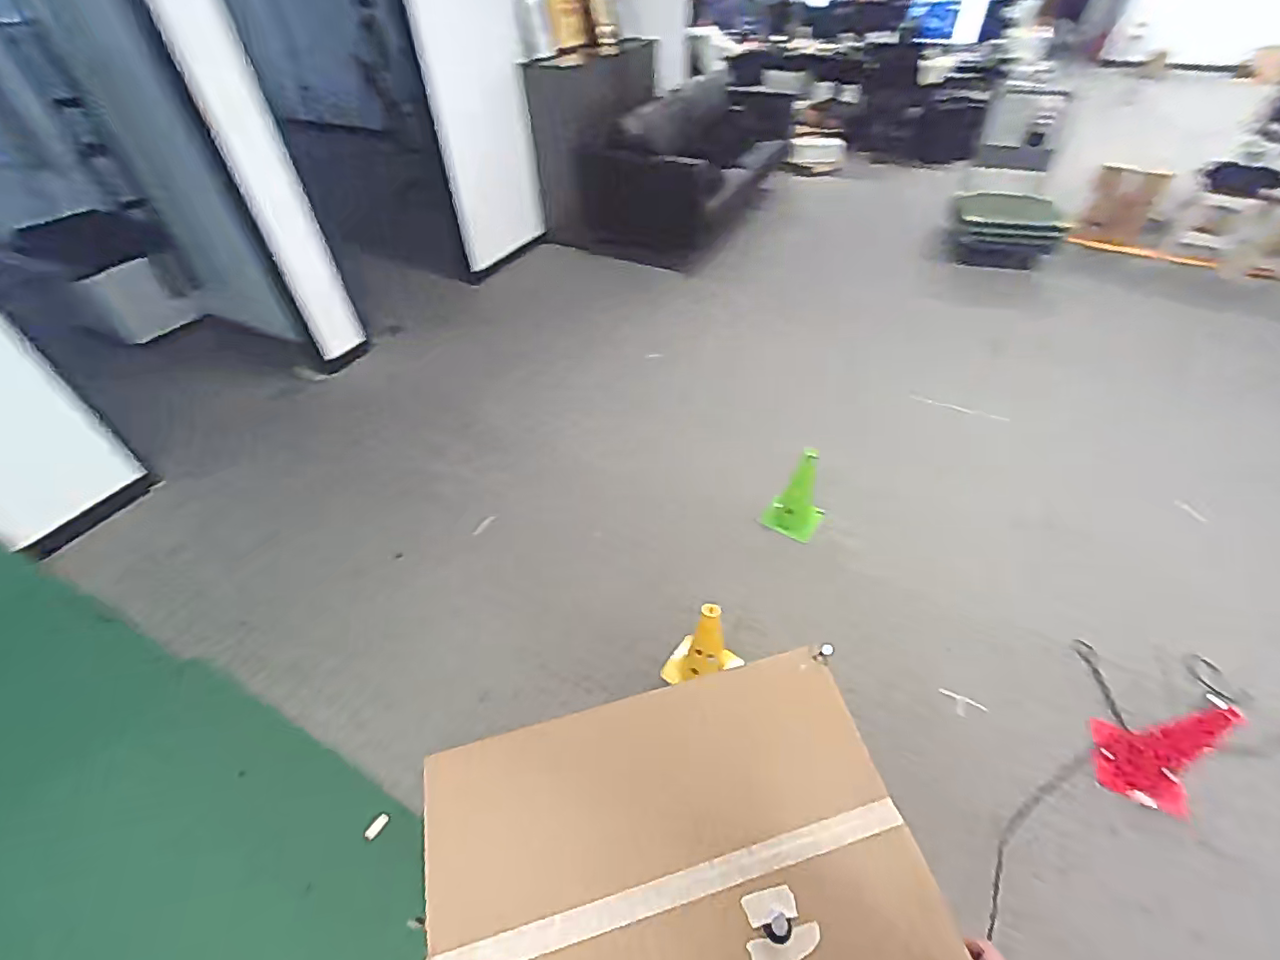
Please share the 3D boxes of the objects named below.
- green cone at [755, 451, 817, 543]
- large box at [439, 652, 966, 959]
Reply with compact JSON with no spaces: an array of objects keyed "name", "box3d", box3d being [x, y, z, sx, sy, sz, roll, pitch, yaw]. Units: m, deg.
[{"name":"green cone","box3d":[0.578,0.032,2.036,0.200,0.368,0.202,24,51,24]},{"name":"large box","box3d":[0.039,0.433,0.572,0.408,0.320,0.320,-12,54,-8]}]
